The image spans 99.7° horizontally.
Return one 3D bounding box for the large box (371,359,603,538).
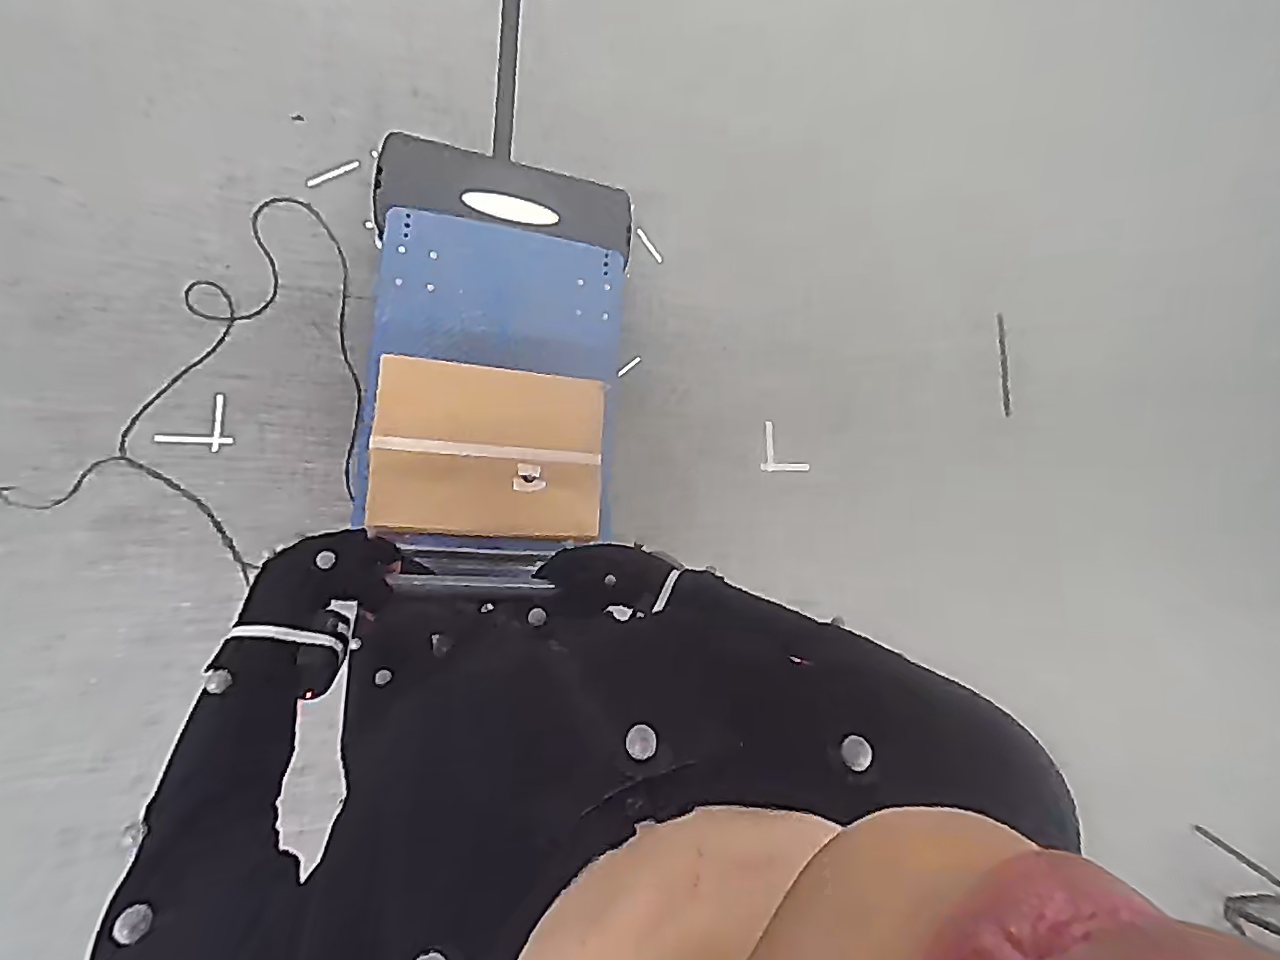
[{"bbox_3d":[-0.312,-0.037,1.128,0.408,0.320,0.320,4,84,-18],"label":"large box"}]
